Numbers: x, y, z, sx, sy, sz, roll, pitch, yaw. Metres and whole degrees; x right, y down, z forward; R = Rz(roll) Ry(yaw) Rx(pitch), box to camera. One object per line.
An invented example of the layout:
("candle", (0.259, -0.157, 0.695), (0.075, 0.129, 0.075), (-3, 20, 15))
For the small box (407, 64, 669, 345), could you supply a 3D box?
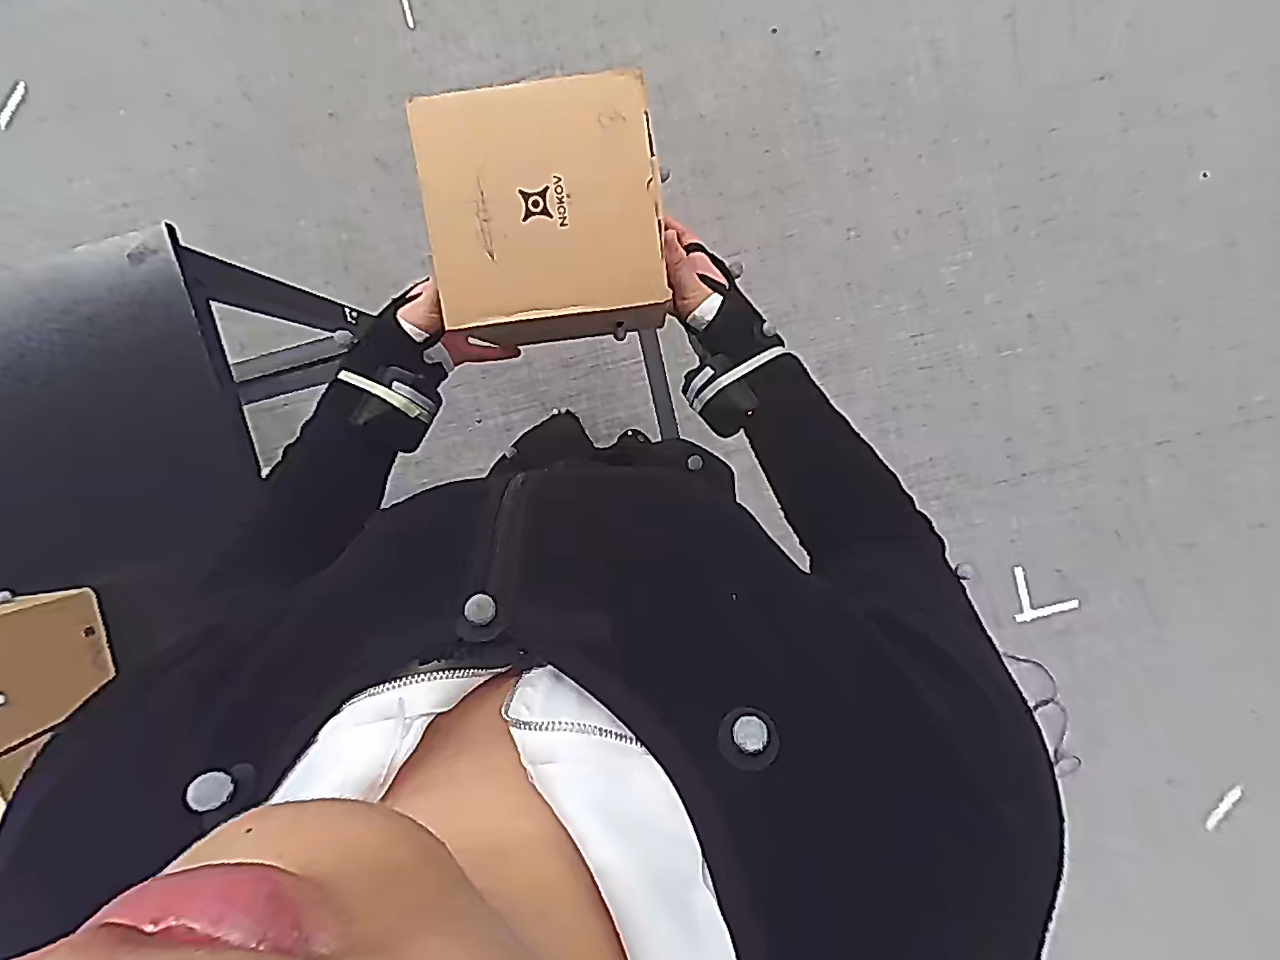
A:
("small box", (-0.073, -0.219, 0.478), (0.179, 0.176, 0.168), (-7, 98, 3))
